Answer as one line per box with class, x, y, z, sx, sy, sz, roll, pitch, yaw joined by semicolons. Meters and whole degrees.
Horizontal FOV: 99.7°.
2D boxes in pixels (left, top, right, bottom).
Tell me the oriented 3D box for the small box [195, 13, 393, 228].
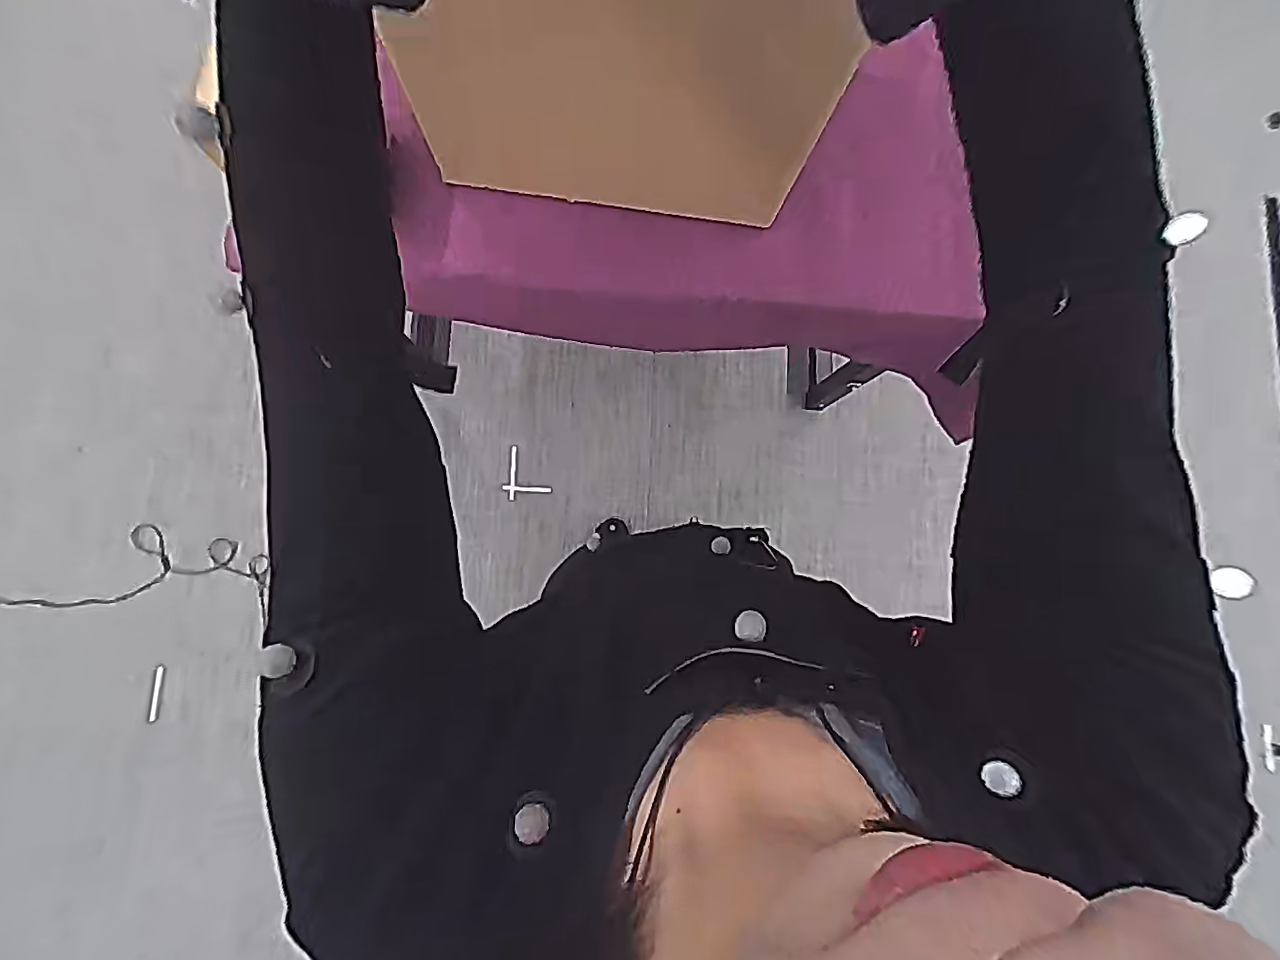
small box;-0.464;-0.486;0.757;0.168;0.176;0.179;6;81;-6
